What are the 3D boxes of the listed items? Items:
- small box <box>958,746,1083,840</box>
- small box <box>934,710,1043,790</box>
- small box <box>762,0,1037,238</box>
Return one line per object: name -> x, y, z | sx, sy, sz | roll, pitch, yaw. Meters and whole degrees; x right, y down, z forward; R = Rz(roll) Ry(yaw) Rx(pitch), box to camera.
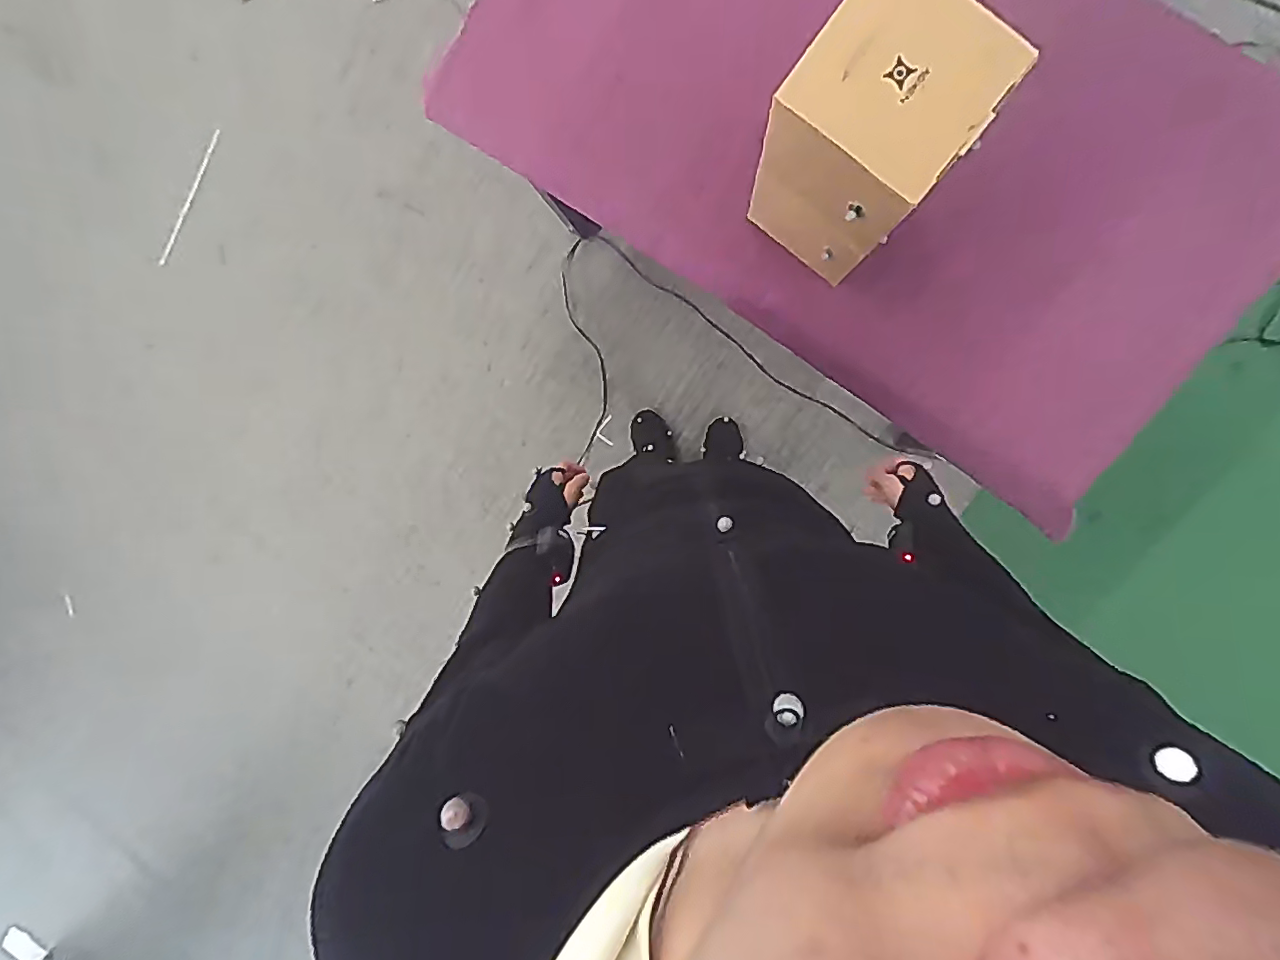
small box -> 0.947, 0.826, 1.374 | 0.168, 0.176, 0.179 | 33, 100, 3
small box -> 0.972, 0.799, 1.532 | 0.168, 0.176, 0.179 | 36, 101, 2
small box -> 0.252, -0.388, 0.578 | 0.179, 0.176, 0.168 | 39, 100, 1
